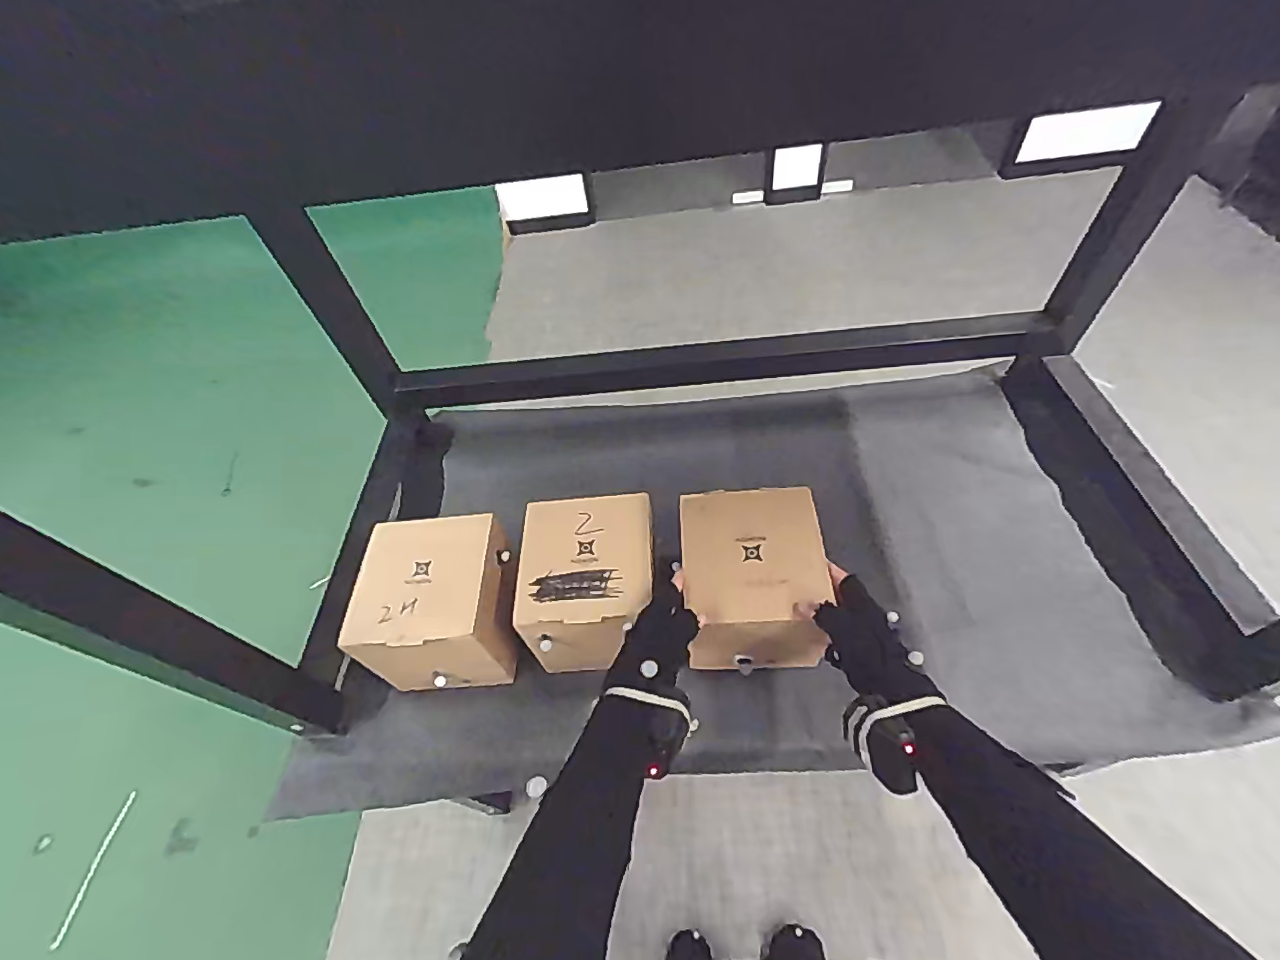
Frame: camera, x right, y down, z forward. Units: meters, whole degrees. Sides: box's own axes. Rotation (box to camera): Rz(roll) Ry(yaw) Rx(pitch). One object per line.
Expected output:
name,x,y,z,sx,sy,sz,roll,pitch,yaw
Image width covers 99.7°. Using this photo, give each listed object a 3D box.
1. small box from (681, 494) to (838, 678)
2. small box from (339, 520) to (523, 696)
small box,0.140,0.140,0.696,0.168,0.176,0.179,-5,53,6
small box,-0.264,0.176,0.737,0.168,0.176,0.179,-5,51,4
